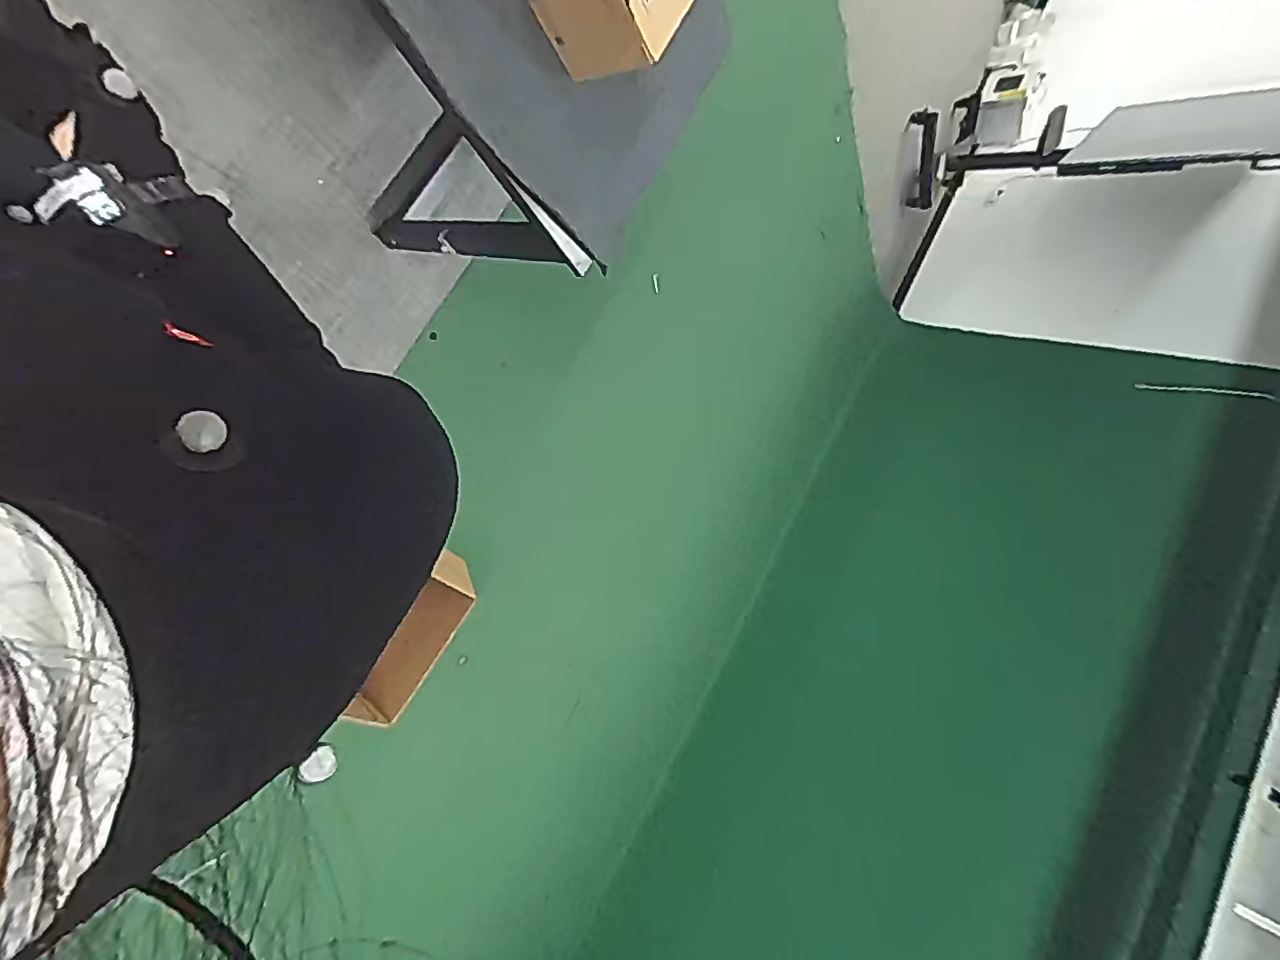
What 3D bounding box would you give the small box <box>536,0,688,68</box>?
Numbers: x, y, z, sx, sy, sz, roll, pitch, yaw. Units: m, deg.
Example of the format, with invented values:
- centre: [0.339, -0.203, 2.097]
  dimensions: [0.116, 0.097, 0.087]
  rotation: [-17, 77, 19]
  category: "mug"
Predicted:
- centre: [-0.043, -0.718, 0.749]
  dimensions: [0.179, 0.176, 0.168]
  rotation: [-62, 144, -10]
  category: "small box"
